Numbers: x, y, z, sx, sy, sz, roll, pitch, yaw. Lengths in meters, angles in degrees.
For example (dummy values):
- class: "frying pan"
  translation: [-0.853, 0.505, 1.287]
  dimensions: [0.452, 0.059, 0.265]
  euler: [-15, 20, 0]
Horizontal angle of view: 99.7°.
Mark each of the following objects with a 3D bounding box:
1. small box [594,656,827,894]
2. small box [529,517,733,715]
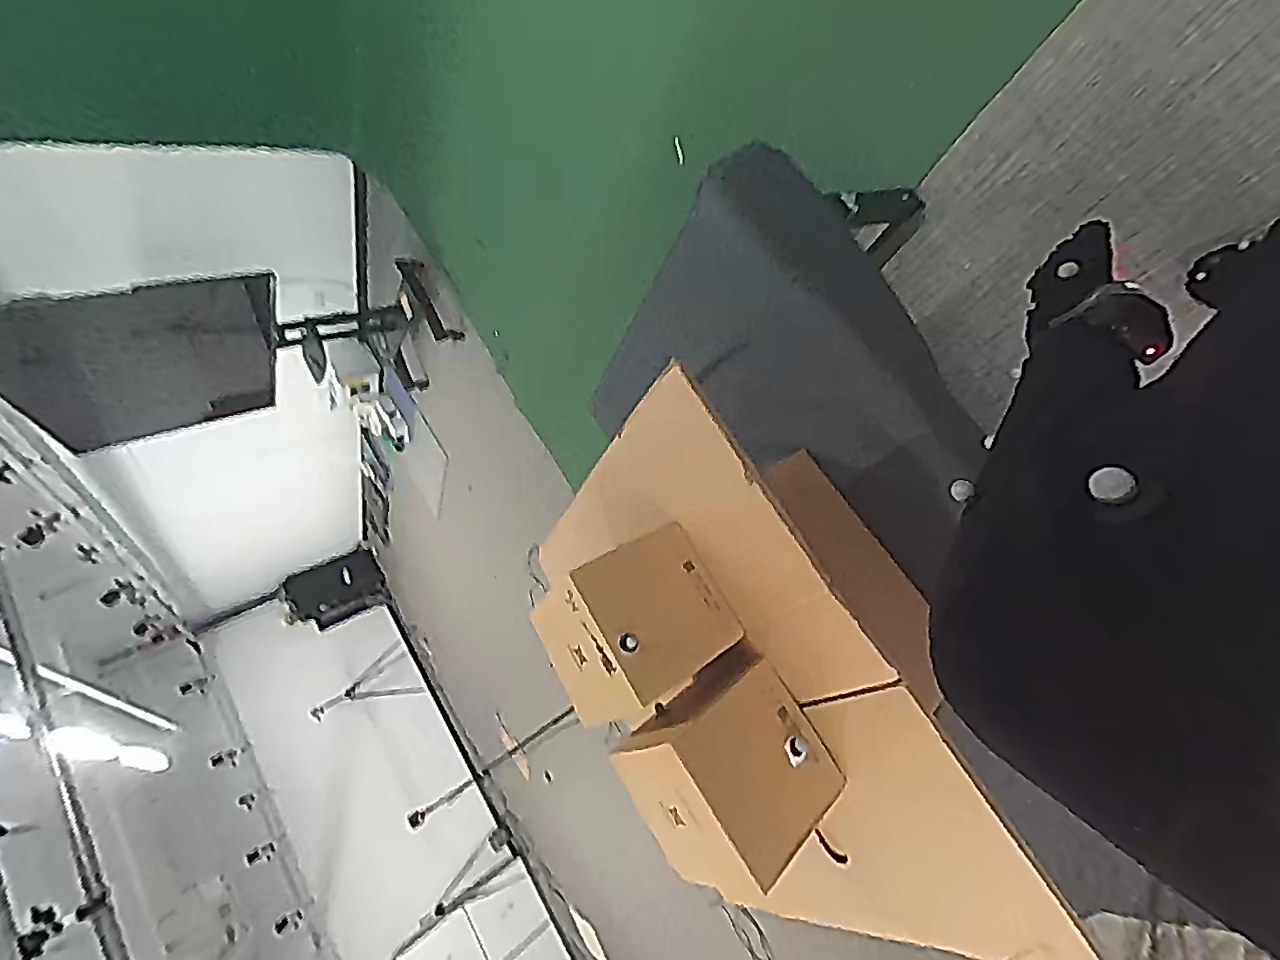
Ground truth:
- class: "small box"
  translation: [0.080, 0.335, 0.635]
  dimensions: [0.168, 0.176, 0.179]
  euler: [56, 141, 13]
- class: "small box"
  translation: [-0.015, 0.172, 0.689]
  dimensions: [0.168, 0.176, 0.179]
  euler: [59, 144, 14]
